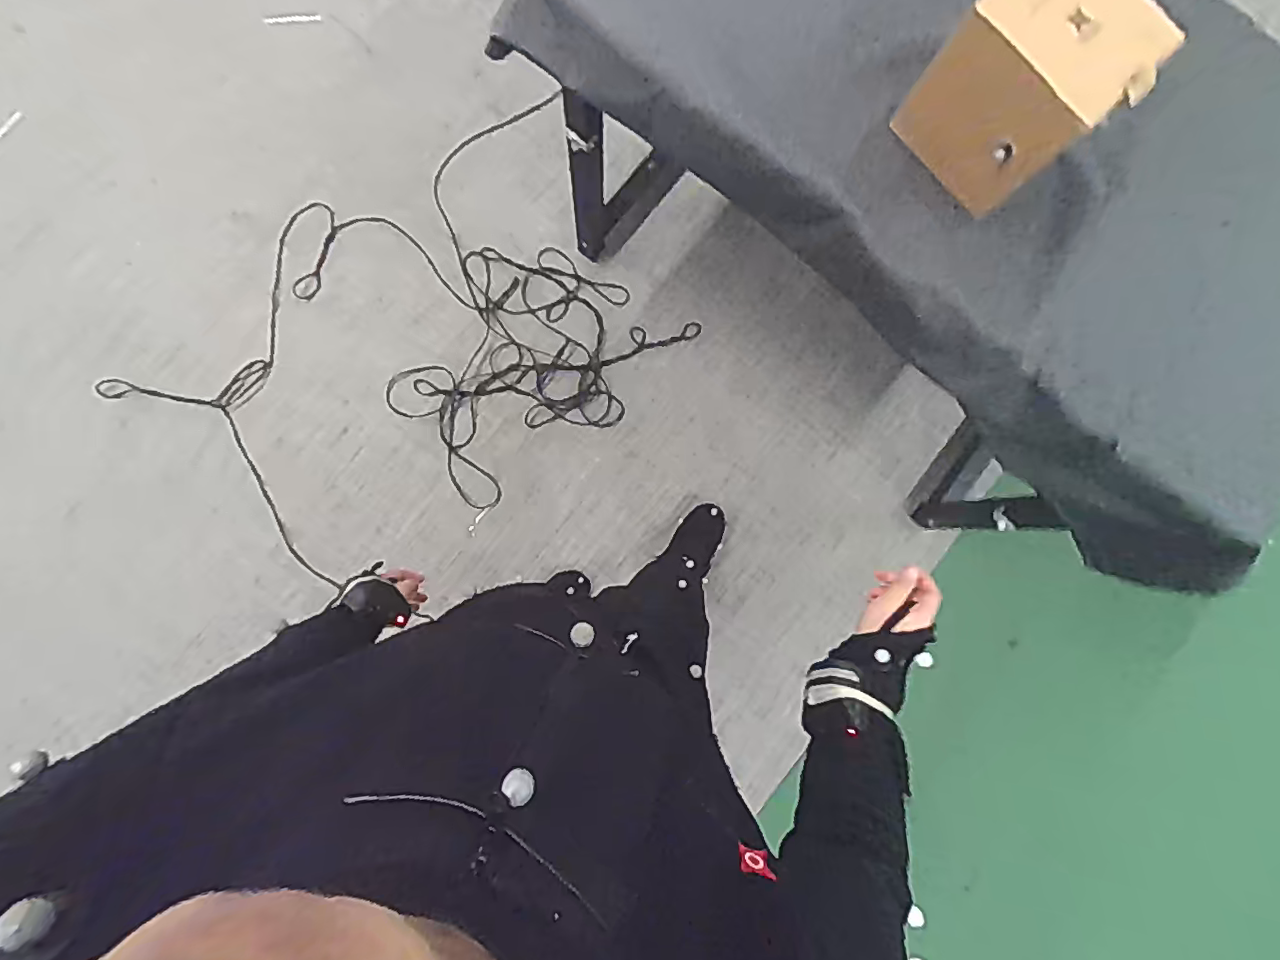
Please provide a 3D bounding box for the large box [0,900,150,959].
[{"bbox_3d":[-1.215,1.167,1.058,0.408,0.320,0.320,38,83,1],"label":"large box"}]

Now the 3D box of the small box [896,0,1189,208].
[{"bbox_3d":[0.452,-0.458,0.636,0.168,0.176,0.179,-43,88,-7],"label":"small box"}]
